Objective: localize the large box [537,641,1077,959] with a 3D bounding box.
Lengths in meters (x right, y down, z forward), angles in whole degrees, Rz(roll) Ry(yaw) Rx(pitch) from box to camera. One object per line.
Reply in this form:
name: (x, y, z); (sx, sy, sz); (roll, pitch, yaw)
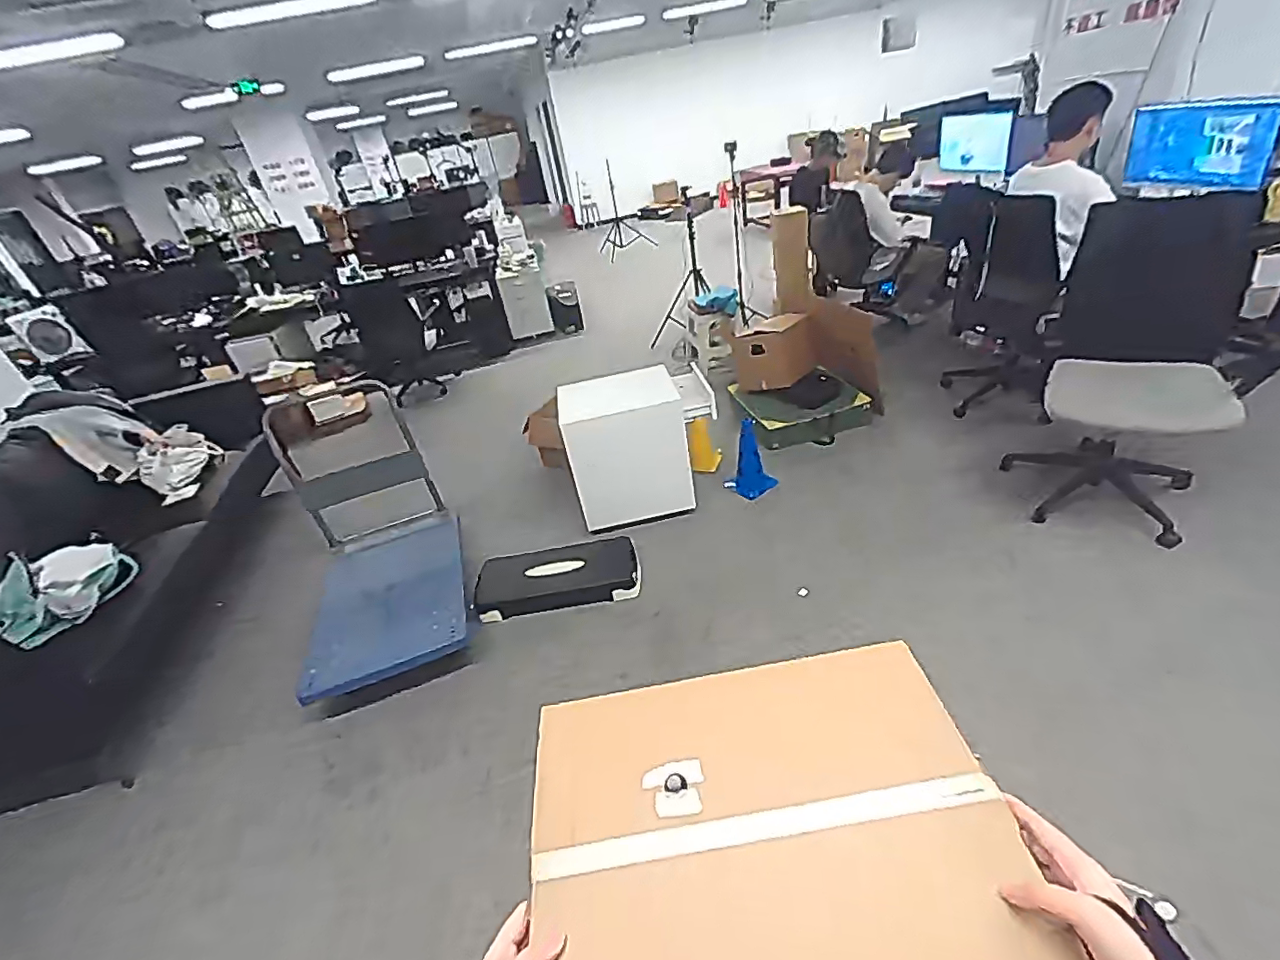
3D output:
large box: (0.135, 0.426, 0.572); (0.408, 0.320, 0.320); (-13, 36, 3)
